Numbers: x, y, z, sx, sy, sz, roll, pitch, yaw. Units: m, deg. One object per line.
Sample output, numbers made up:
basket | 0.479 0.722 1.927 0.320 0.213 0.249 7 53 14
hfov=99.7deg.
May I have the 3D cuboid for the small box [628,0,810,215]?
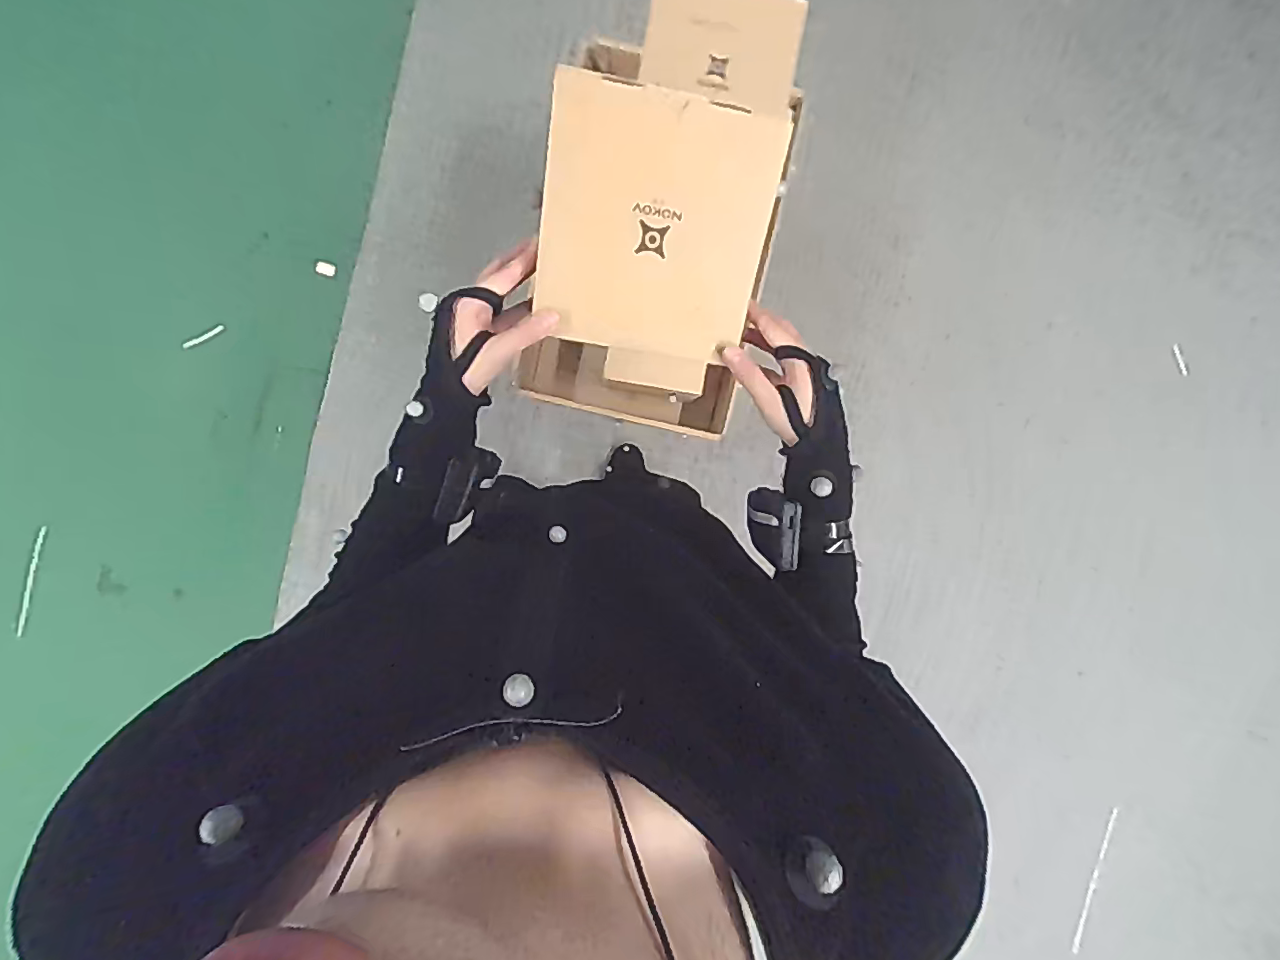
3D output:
small box | 0.083 -0.450 0.657 0.168 0.176 0.179 11 97 -3
